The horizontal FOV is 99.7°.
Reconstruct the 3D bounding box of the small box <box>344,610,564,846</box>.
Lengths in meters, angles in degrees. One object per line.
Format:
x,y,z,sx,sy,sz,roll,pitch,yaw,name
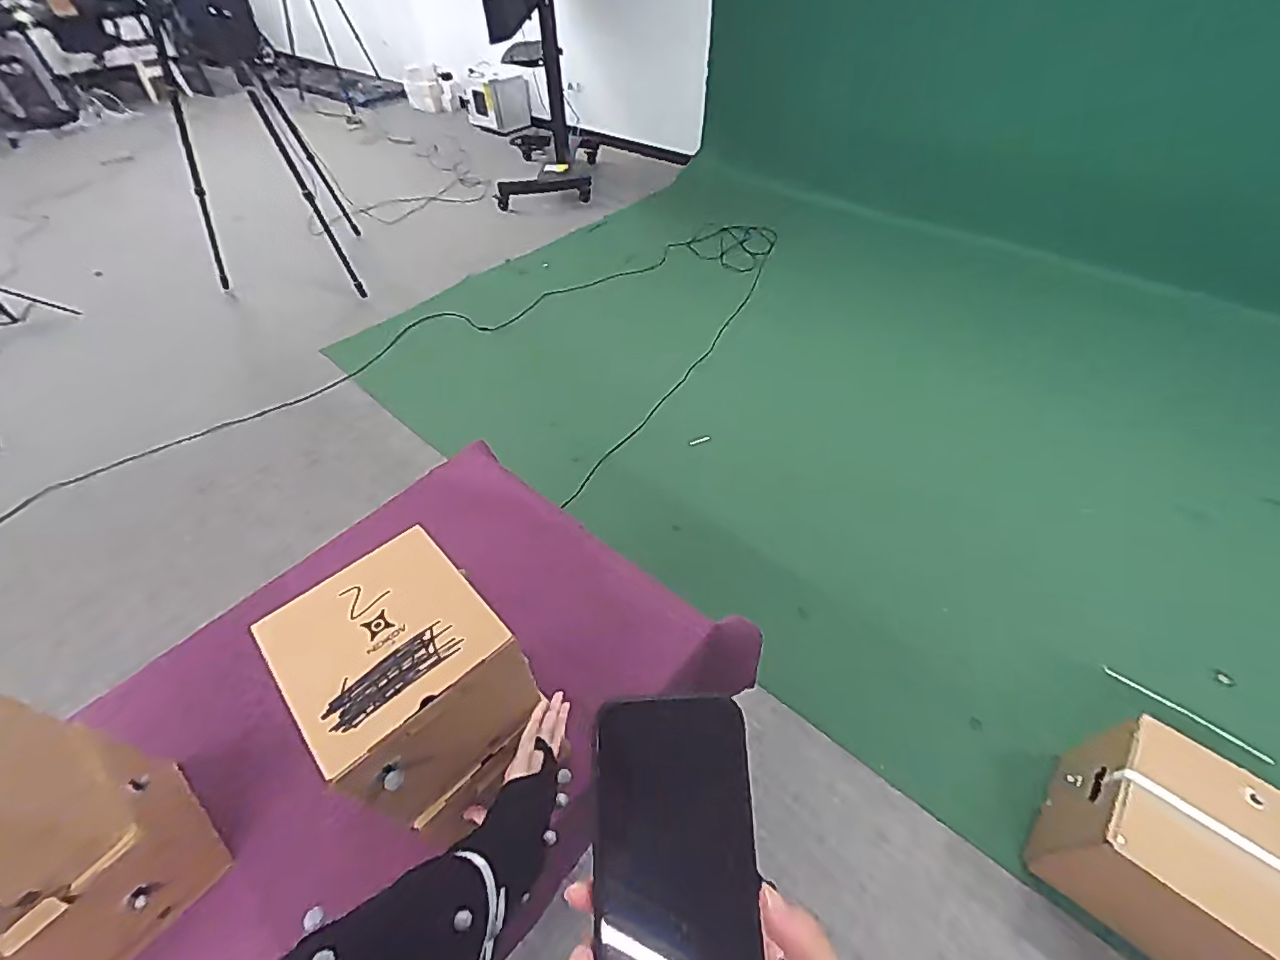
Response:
-0.213,0.300,0.654,0.179,0.176,0.168,36,58,29,small box

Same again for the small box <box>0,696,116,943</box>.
-0.609,0.296,0.450,0.179,0.176,0.168,30,55,26,small box

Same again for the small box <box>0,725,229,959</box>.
-0.591,0.405,0.573,0.179,0.176,0.168,31,55,27,small box
